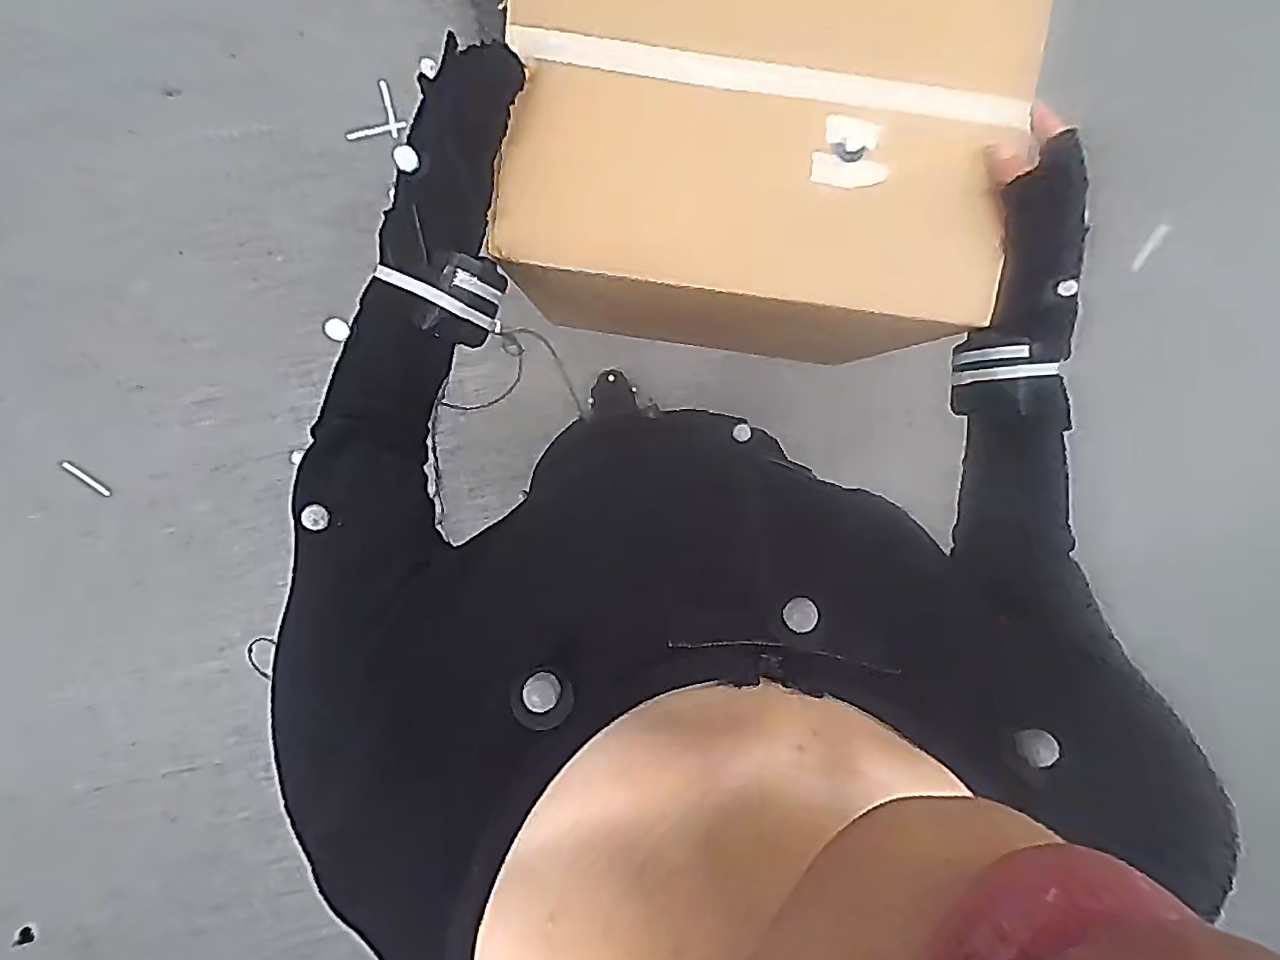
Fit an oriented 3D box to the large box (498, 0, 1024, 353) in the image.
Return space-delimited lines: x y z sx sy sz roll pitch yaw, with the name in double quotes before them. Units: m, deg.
"large box" 0.091 -0.329 0.575 0.408 0.320 0.320 7 96 -2
